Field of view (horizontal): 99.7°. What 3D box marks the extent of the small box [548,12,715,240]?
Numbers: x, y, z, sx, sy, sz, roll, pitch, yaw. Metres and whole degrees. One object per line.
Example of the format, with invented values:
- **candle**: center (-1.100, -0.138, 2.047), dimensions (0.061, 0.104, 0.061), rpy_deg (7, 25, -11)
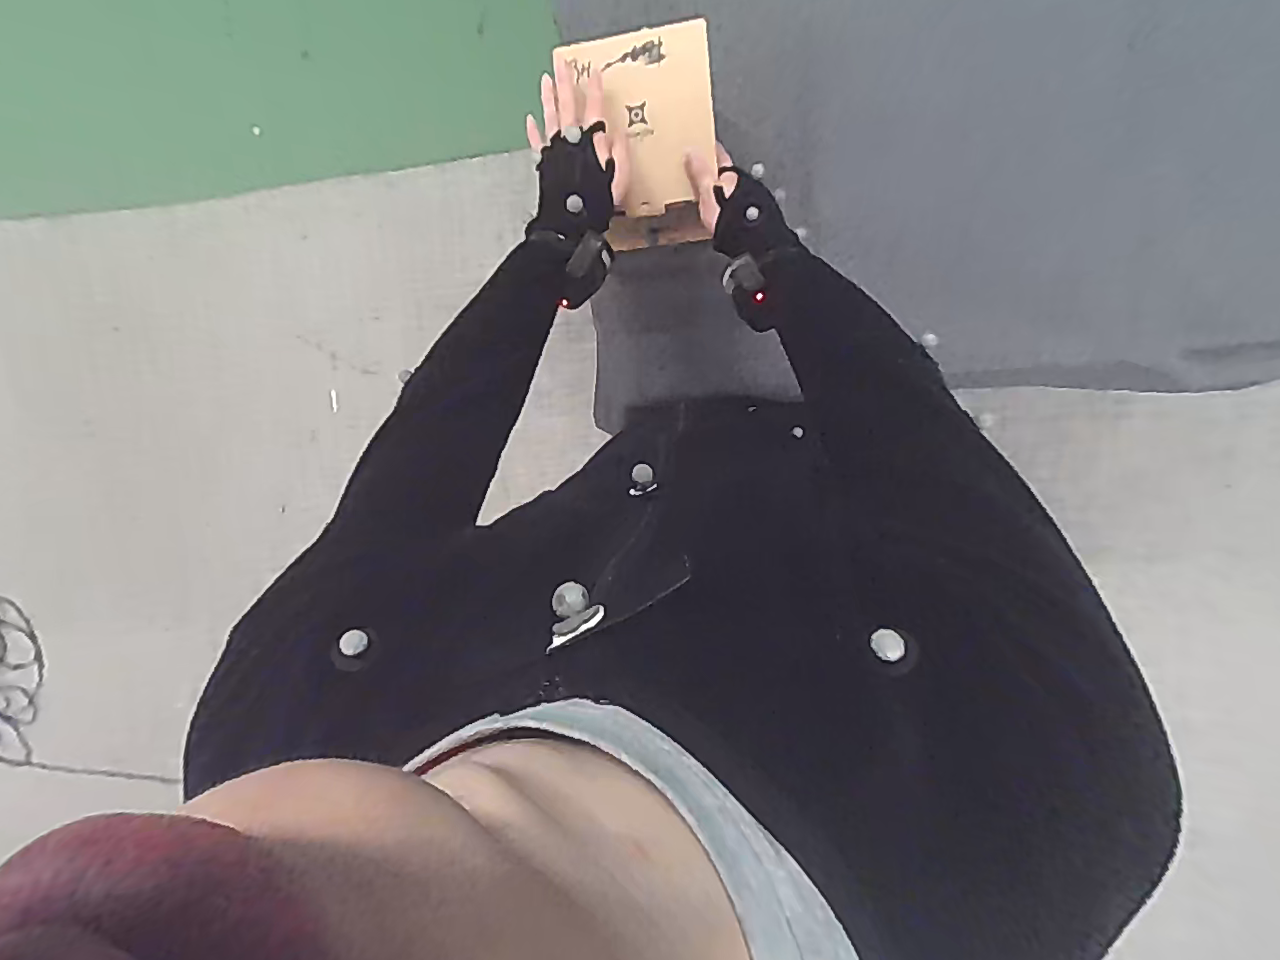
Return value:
- **small box**: center (0.001, -0.399, 0.648), dimensions (0.168, 0.176, 0.179), rpy_deg (-5, 102, 6)
